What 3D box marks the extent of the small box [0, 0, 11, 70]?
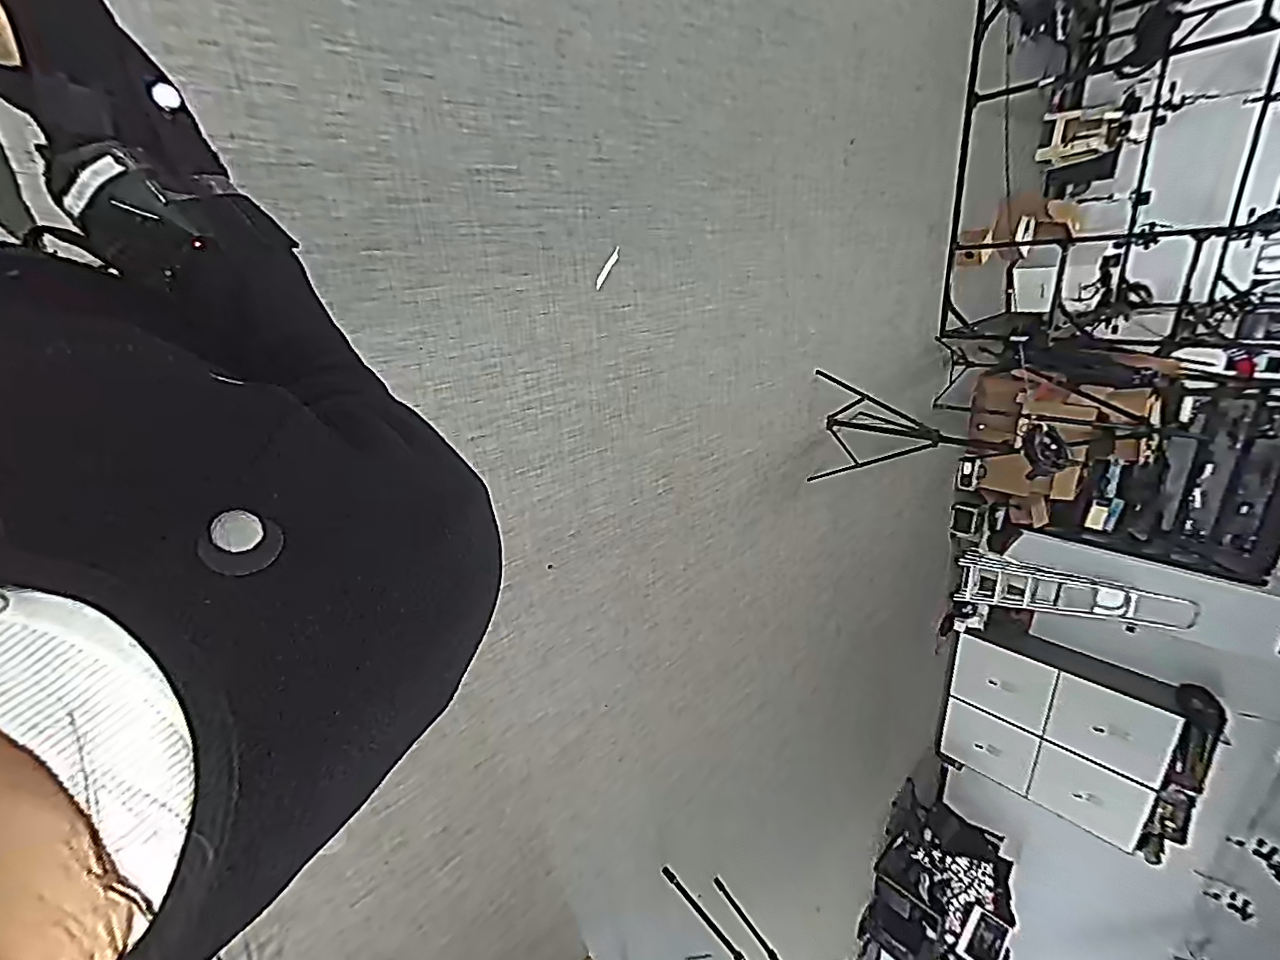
[{"bbox_3d":[-0.331,-0.242,0.146,0.176,0.168,0.179,-20,126,-40],"label":"small box"}]
